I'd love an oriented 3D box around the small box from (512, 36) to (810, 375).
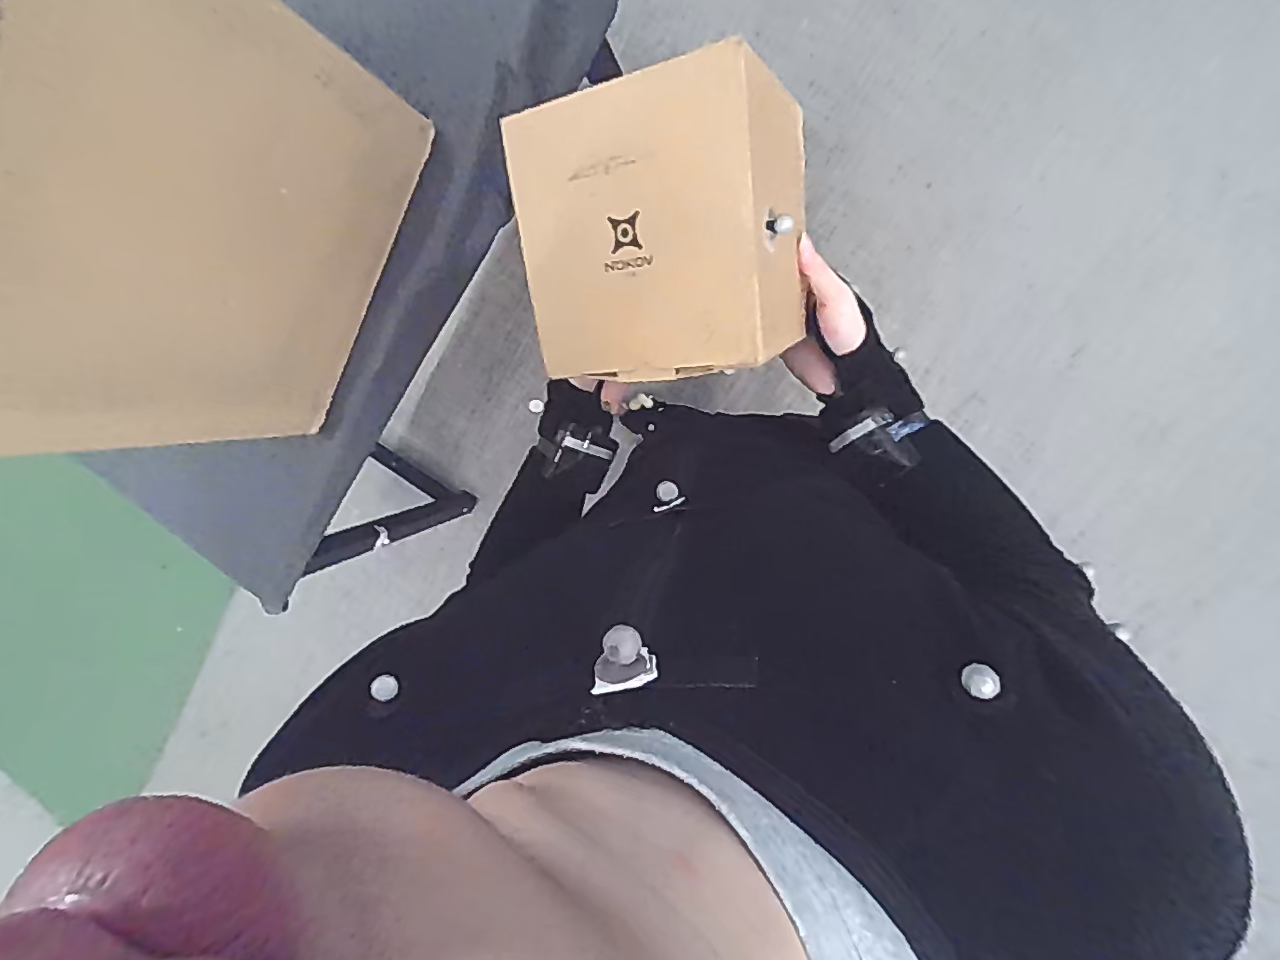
[{"bbox_3d":[0.032,-0.185,0.415,0.168,0.176,0.179,2,110,27],"label":"small box"}]
